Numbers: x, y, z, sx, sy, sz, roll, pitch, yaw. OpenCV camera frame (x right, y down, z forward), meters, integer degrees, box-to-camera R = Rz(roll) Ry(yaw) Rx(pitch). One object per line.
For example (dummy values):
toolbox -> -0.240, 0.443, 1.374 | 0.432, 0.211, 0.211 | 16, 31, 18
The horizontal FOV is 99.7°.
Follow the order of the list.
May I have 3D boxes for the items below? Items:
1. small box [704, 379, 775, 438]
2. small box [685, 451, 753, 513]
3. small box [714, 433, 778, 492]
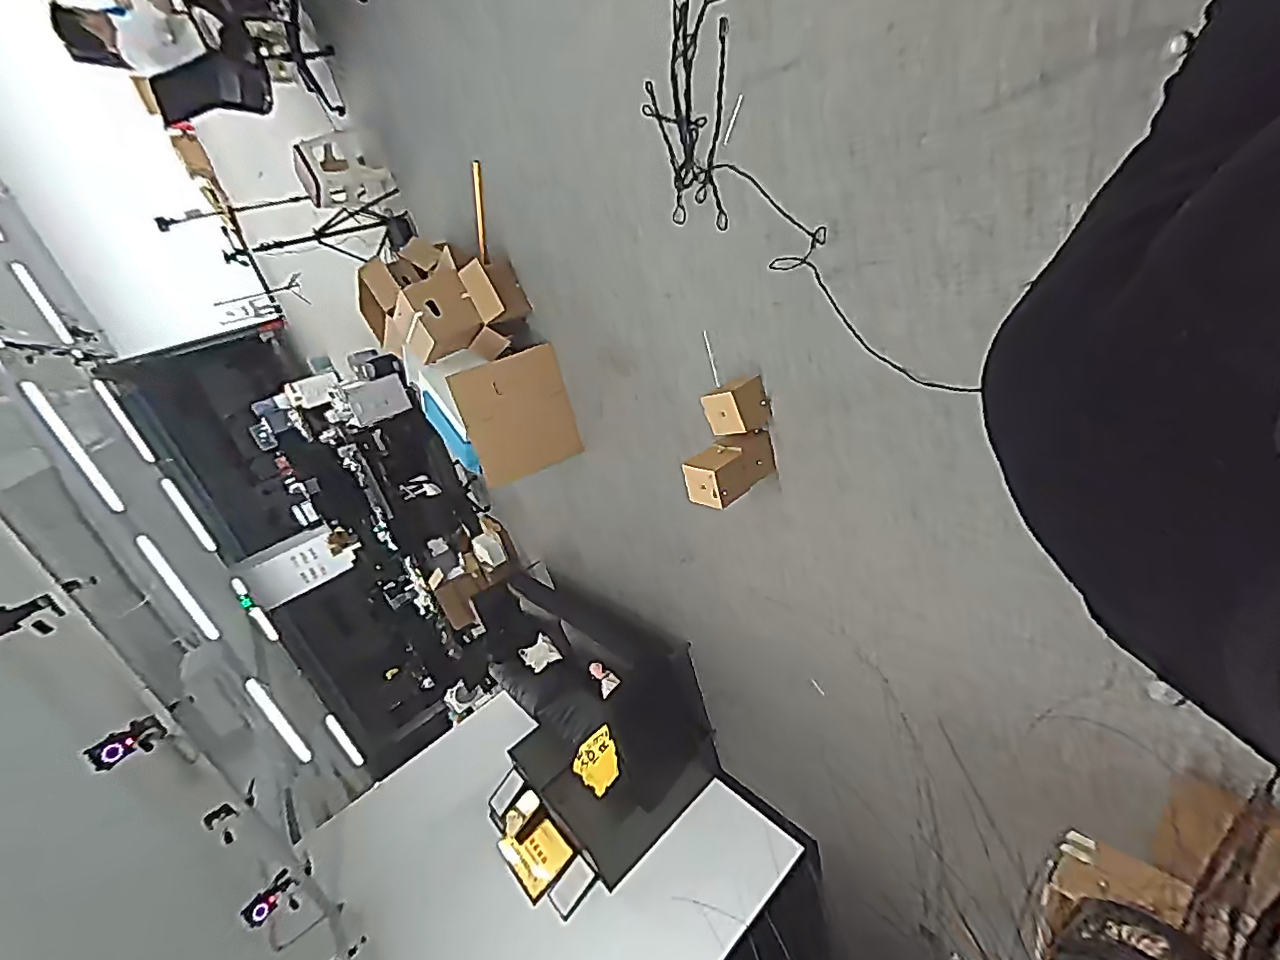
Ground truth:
small box -> 0.379, -0.270, 2.054 | 0.179, 0.176, 0.168 | 0, 117, 55
small box -> 0.305, 0.000, 2.074 | 0.179, 0.176, 0.168 | 17, 130, 51
small box -> 0.425, -0.079, 2.154 | 0.168, 0.176, 0.179 | 15, 129, 51
